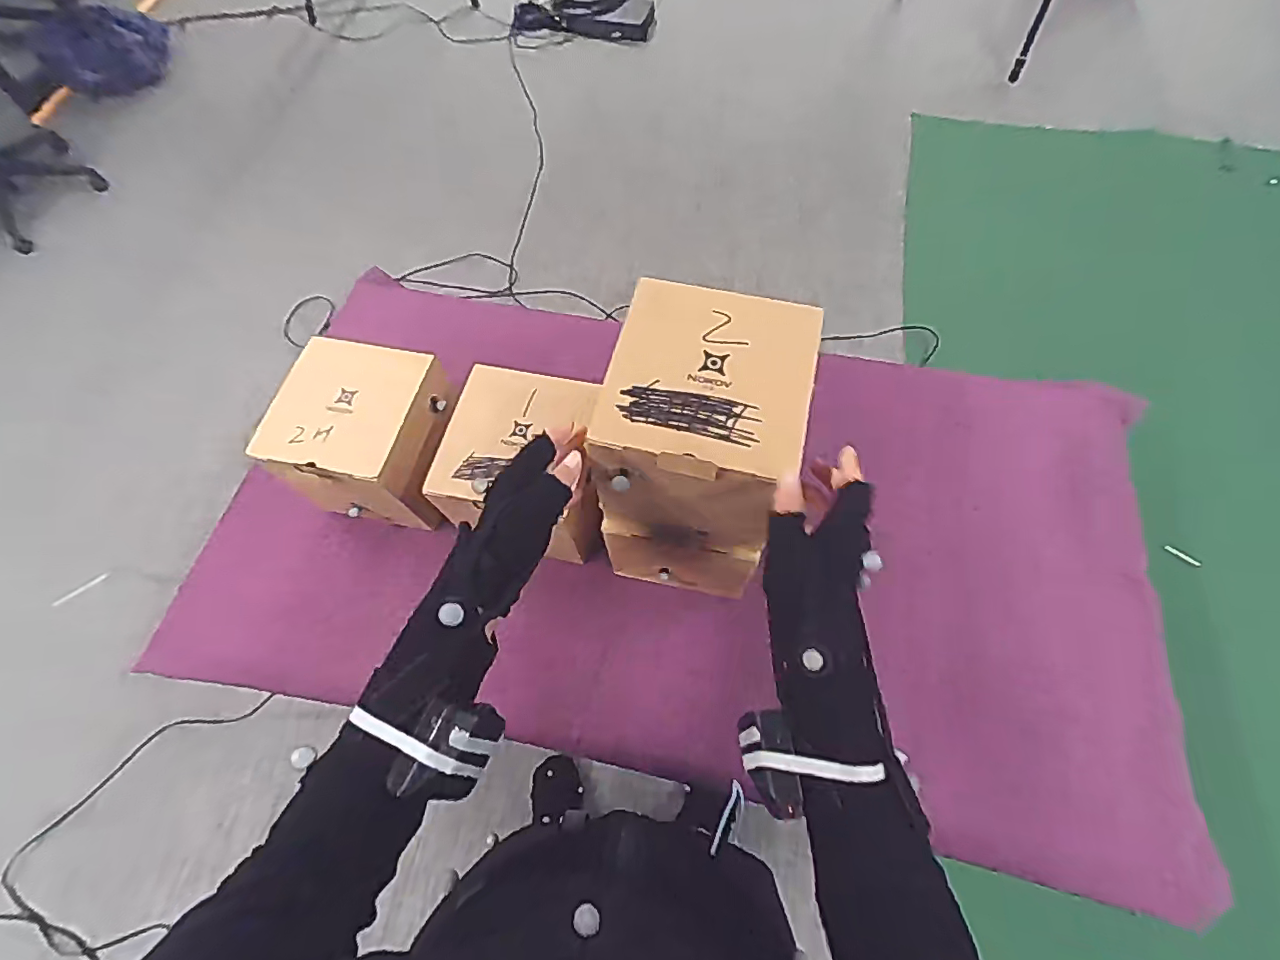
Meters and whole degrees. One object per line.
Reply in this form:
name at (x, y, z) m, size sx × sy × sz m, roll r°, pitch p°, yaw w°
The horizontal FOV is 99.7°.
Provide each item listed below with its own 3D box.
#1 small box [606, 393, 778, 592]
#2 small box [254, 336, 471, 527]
small box at (0.062, 0.022, 0.663) m, size 0.168 × 0.176 × 0.179 m, roll 10°, pitch 67°, yaw 7°
small box at (-0.342, -0.058, 0.713) m, size 0.168 × 0.176 × 0.179 m, roll 10°, pitch 67°, yaw 7°
